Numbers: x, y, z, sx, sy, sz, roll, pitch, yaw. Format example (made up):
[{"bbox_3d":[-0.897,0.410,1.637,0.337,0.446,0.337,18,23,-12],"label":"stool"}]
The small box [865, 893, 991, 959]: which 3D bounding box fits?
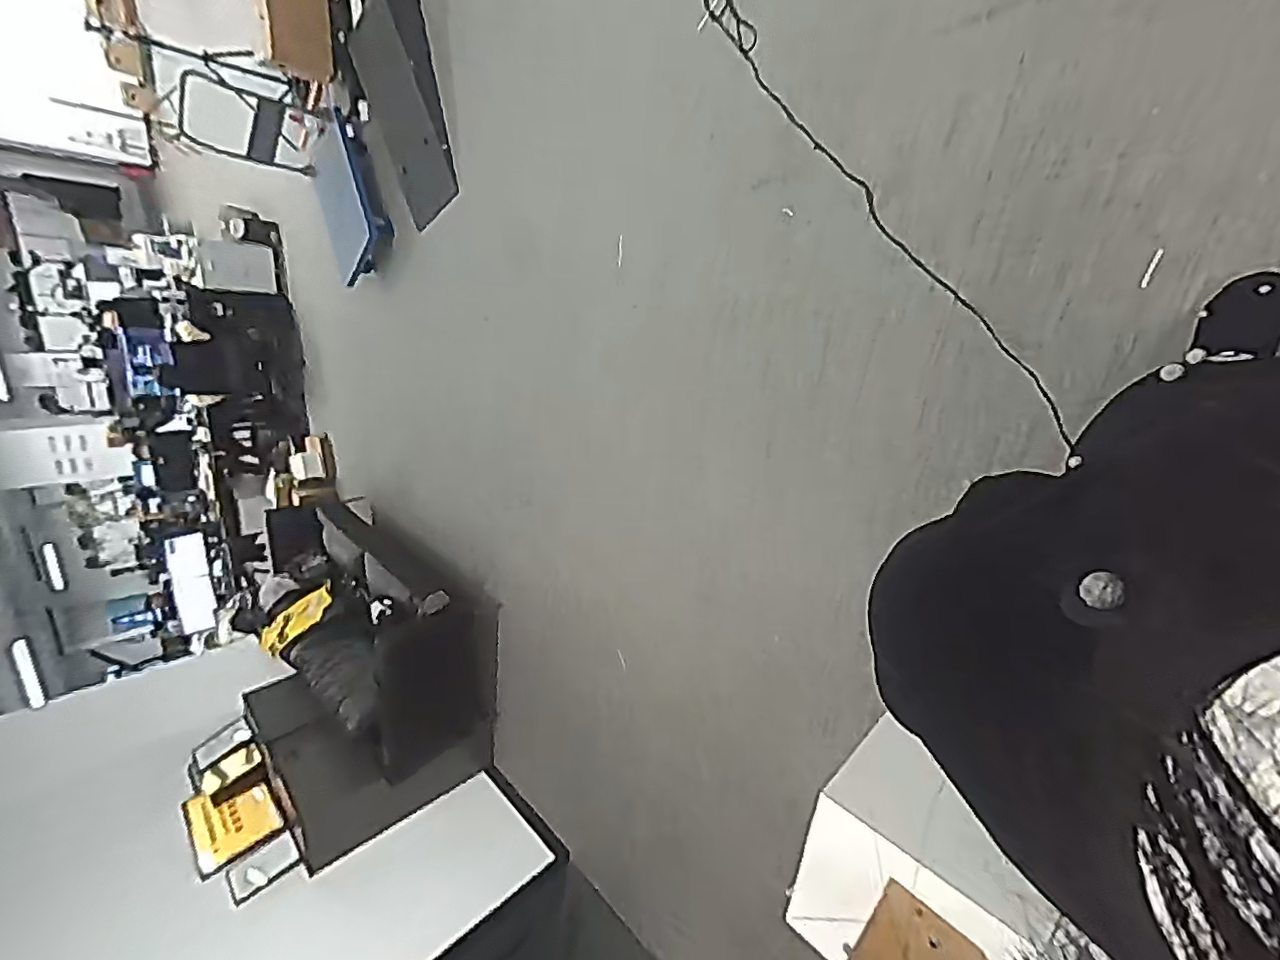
[{"bbox_3d":[0.479,0.878,0.927,0.168,0.176,0.179,25,117,39],"label":"small box"}]
